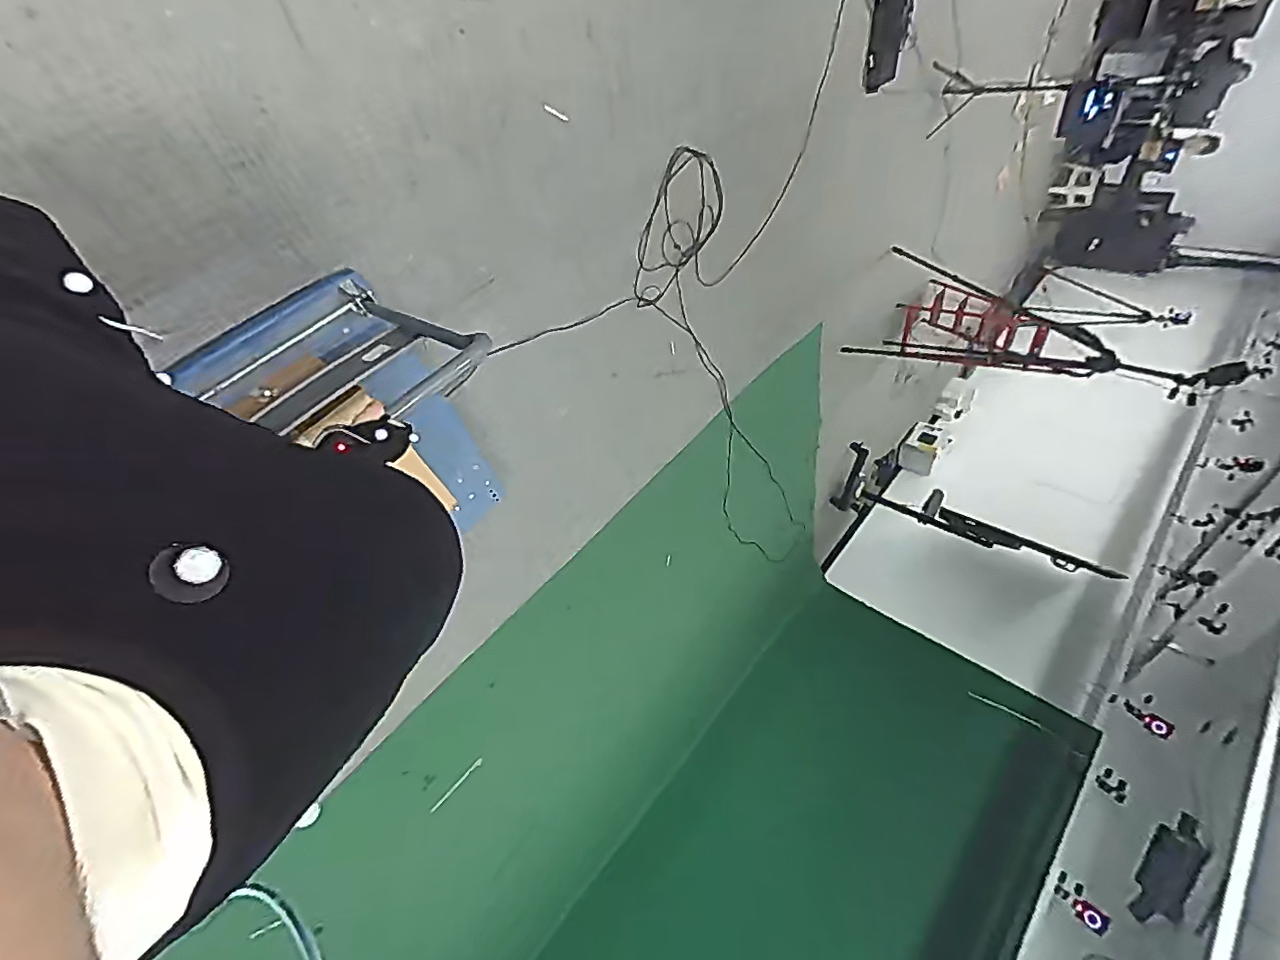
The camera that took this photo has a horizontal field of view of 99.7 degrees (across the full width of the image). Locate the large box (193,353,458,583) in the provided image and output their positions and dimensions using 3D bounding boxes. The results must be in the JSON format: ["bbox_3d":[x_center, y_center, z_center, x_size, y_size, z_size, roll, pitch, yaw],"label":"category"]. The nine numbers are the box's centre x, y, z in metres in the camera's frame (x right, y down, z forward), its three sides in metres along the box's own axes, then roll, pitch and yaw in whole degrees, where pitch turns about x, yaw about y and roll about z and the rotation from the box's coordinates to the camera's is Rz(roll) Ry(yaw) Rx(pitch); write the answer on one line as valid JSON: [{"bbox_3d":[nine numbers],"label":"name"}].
[{"bbox_3d":[-0.732,-0.030,1.297,0.320,0.320,0.408,-46,142,-21],"label":"large box"}]
